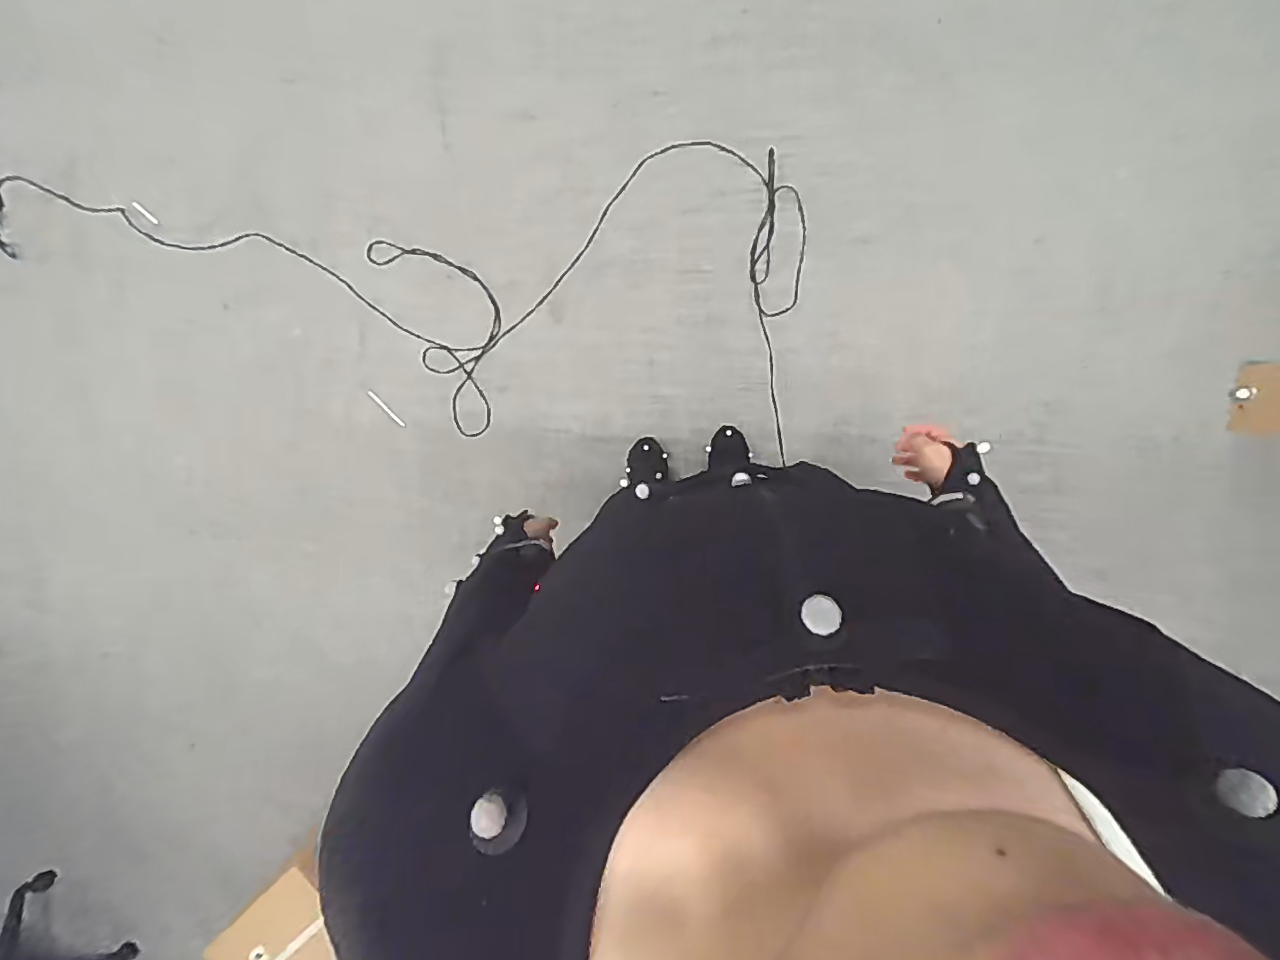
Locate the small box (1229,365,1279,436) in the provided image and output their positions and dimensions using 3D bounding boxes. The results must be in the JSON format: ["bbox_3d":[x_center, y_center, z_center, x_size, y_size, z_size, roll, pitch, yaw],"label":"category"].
[{"bbox_3d":[1.565,-0.186,1.265,0.179,0.176,0.168,2,96,6],"label":"small box"}]
